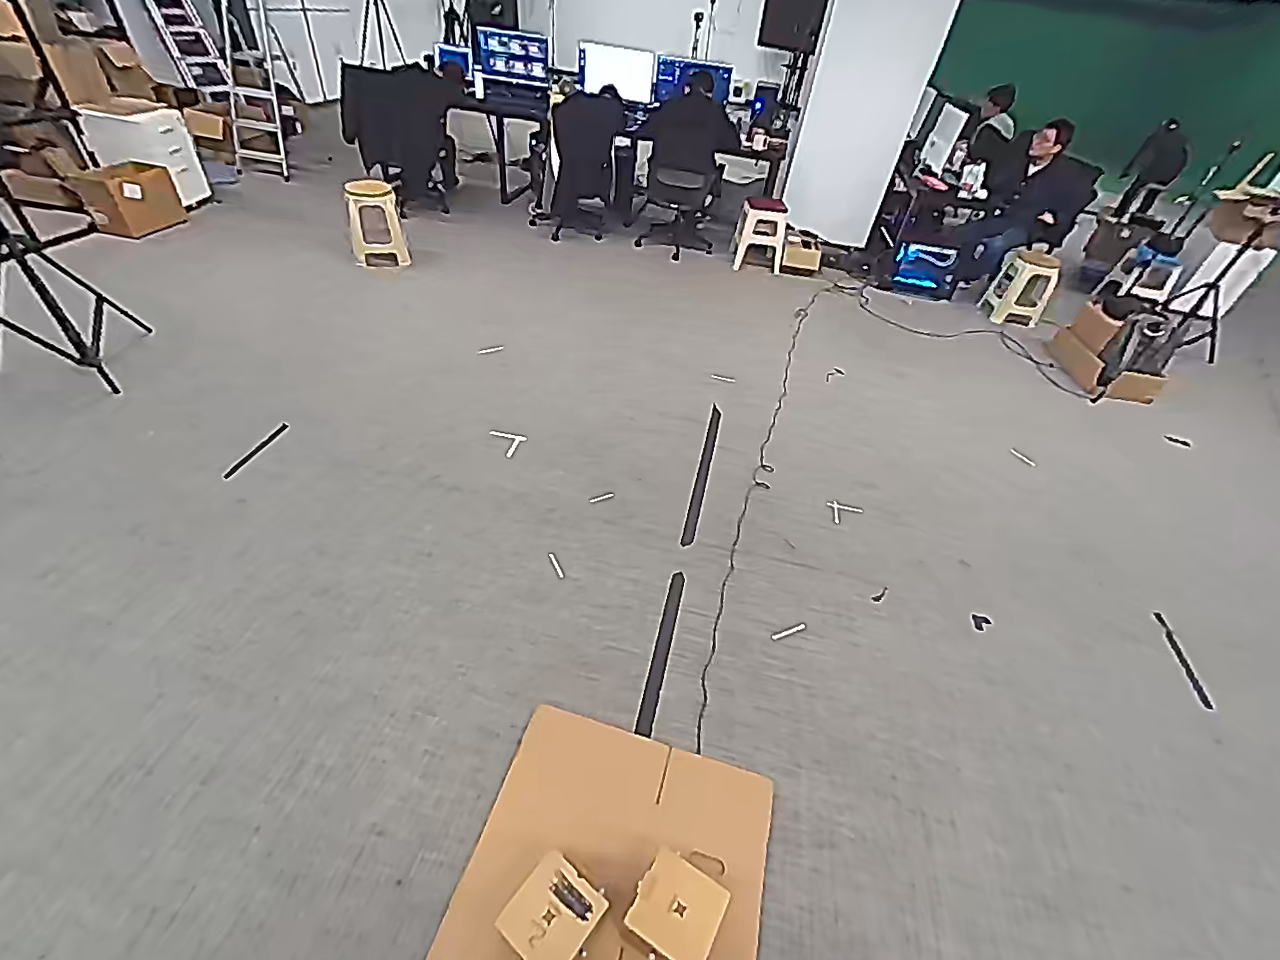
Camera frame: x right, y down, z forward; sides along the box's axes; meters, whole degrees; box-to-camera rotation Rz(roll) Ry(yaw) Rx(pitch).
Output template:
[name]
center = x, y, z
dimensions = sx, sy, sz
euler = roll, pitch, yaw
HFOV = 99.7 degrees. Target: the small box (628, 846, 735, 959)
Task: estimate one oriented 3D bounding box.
[small box]
center = 0.088, 0.966, 1.202
dimensions = 0.179, 0.176, 0.168
euler = 24, 47, 21
